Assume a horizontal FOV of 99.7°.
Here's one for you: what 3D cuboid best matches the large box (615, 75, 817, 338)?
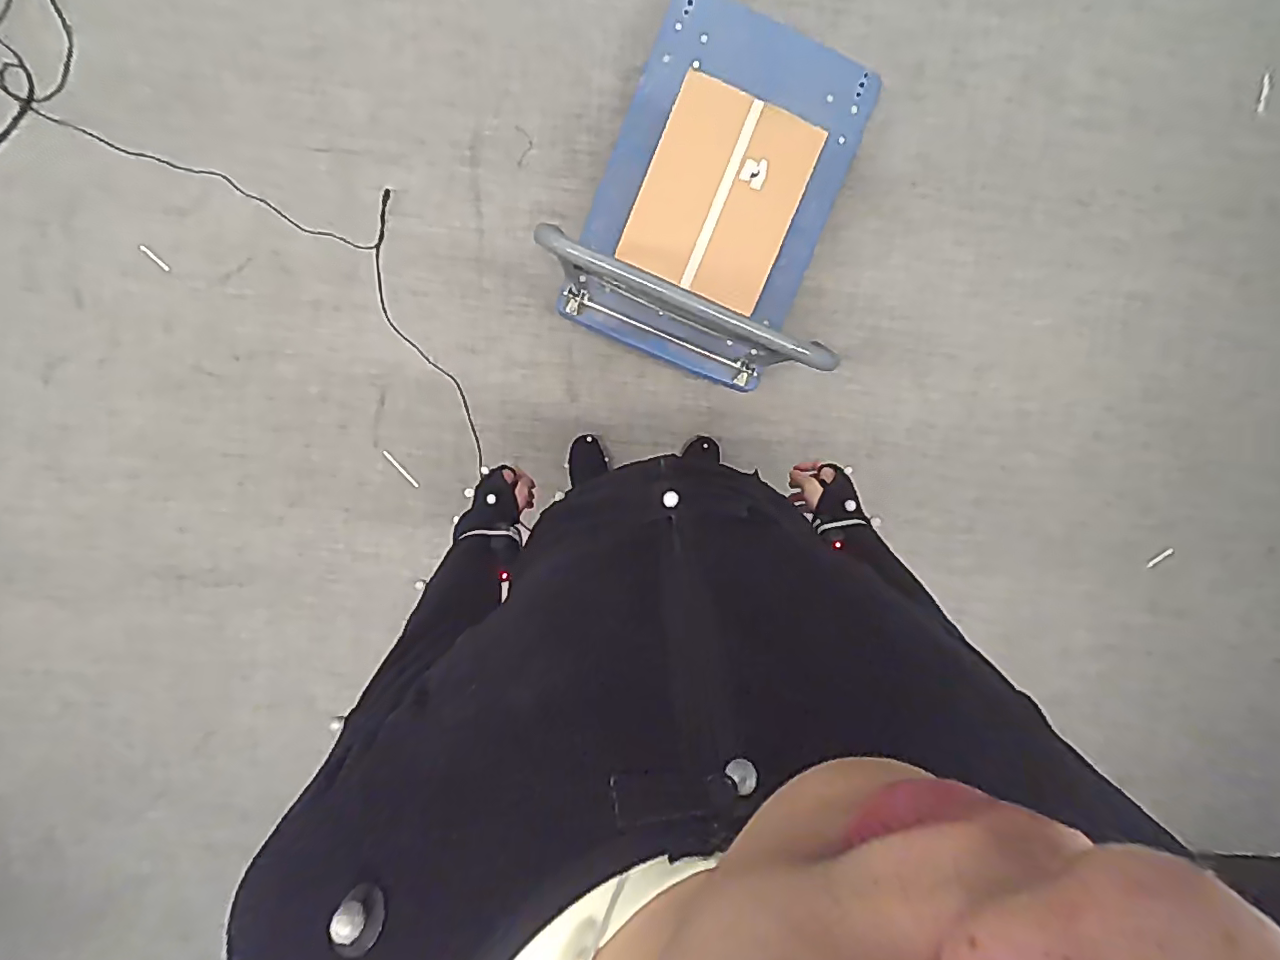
[{"bbox_3d":[0.150,-0.599,1.269,0.320,0.320,0.408,22,93,-5],"label":"large box"}]
